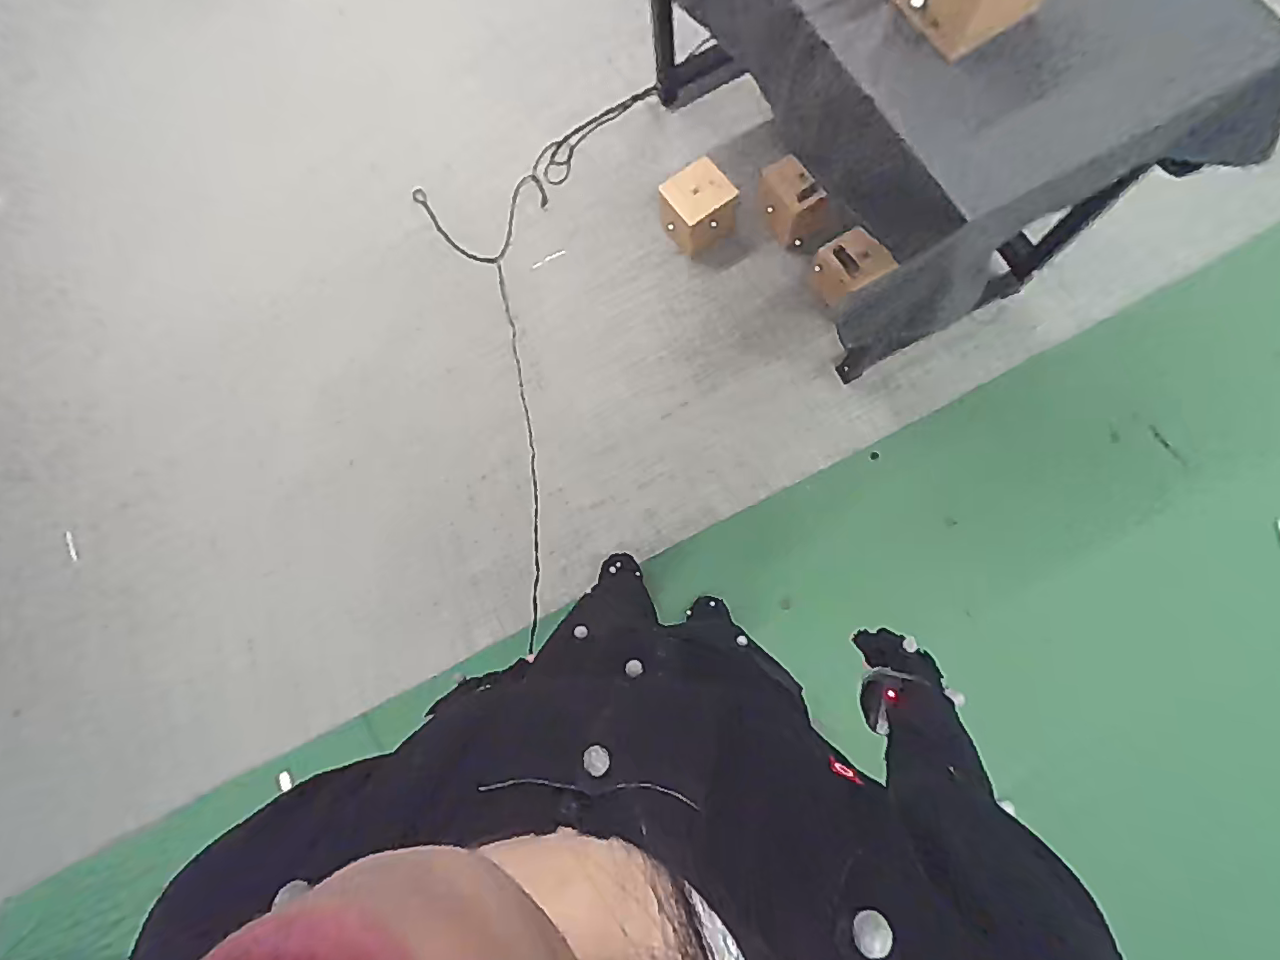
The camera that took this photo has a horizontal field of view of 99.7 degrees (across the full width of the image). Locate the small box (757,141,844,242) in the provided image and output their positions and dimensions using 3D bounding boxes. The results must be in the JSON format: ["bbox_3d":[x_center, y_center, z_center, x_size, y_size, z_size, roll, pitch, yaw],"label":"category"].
[{"bbox_3d":[0.462,-0.831,1.583,0.168,0.176,0.179,-29,77,-1],"label":"small box"}]

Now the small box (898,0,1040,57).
[{"bbox_3d":[0.539,-0.817,0.832,0.179,0.176,0.168,-30,77,-1],"label":"small box"}]
